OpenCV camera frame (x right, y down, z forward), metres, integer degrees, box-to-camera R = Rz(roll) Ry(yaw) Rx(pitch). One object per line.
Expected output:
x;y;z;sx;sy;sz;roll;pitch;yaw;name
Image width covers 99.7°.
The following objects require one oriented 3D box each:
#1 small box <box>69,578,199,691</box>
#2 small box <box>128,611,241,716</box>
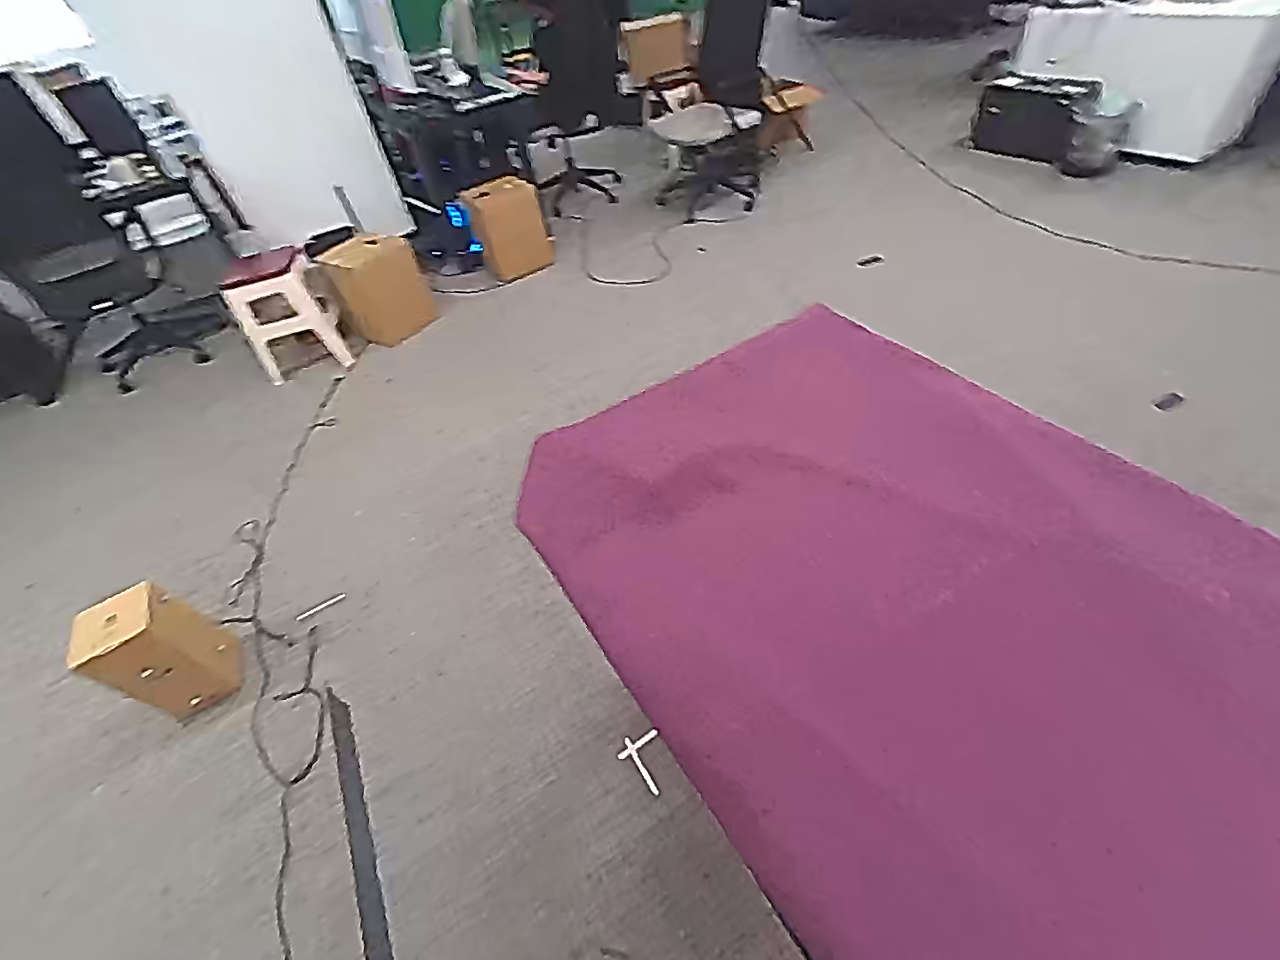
-1.235;0.383;1.335;0.168;0.176;0.179;-30;49;-16;small box
-1.213;0.495;1.454;0.168;0.176;0.179;-29;49;-15;small box
